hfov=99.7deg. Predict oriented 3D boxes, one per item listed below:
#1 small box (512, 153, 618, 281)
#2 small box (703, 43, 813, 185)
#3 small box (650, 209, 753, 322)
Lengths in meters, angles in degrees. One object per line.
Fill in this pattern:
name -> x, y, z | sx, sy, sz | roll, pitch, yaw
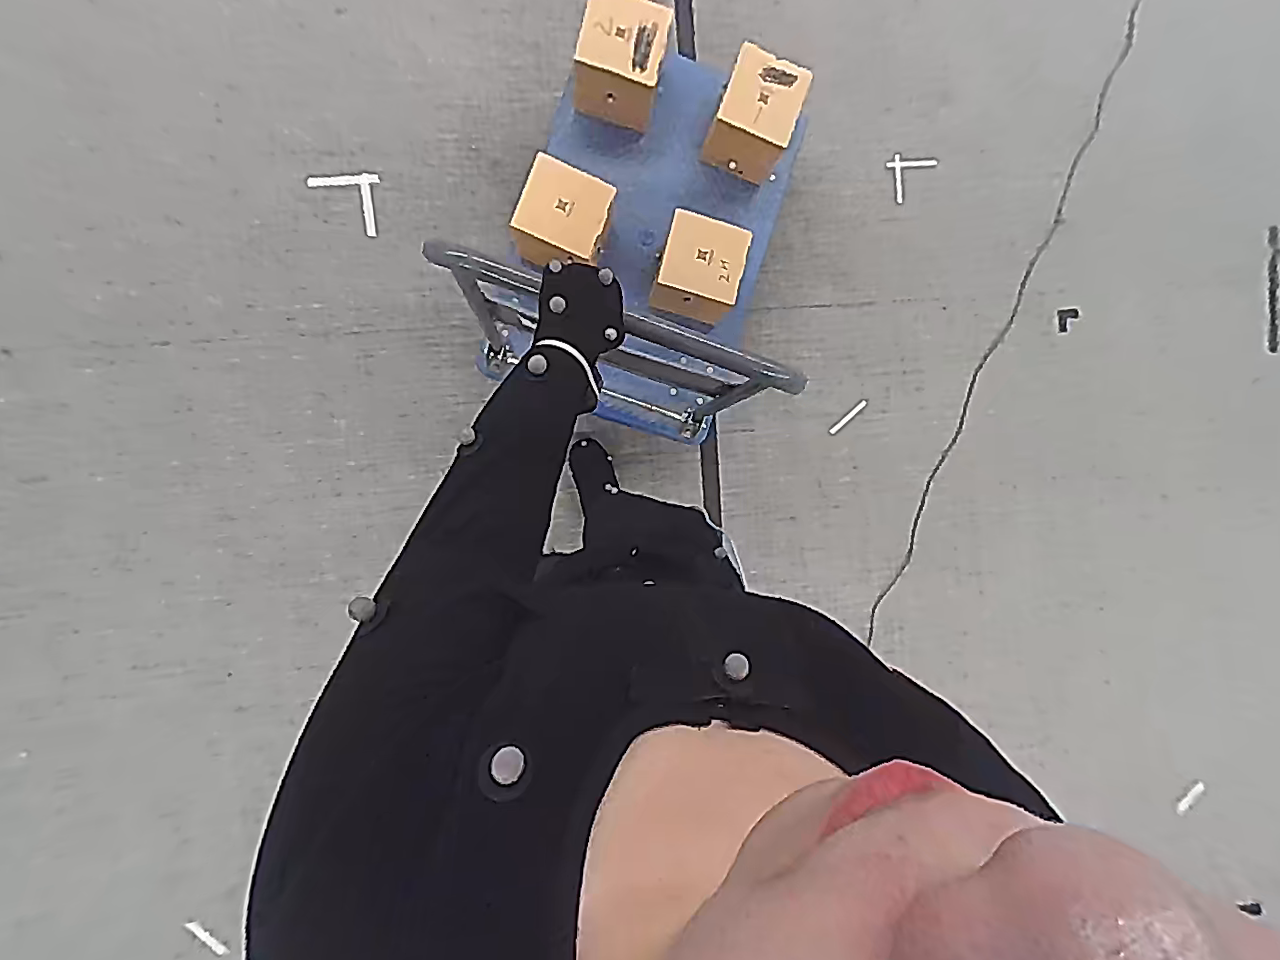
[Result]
small box -> -0.164, -0.565, 1.189 | 0.179, 0.176, 0.168 | 21, 89, -8
small box -> 0.258, -0.820, 1.230 | 0.168, 0.176, 0.179 | 20, 91, -7
small box -> 0.129, -0.474, 1.226 | 0.179, 0.176, 0.168 | 15, 90, -7
